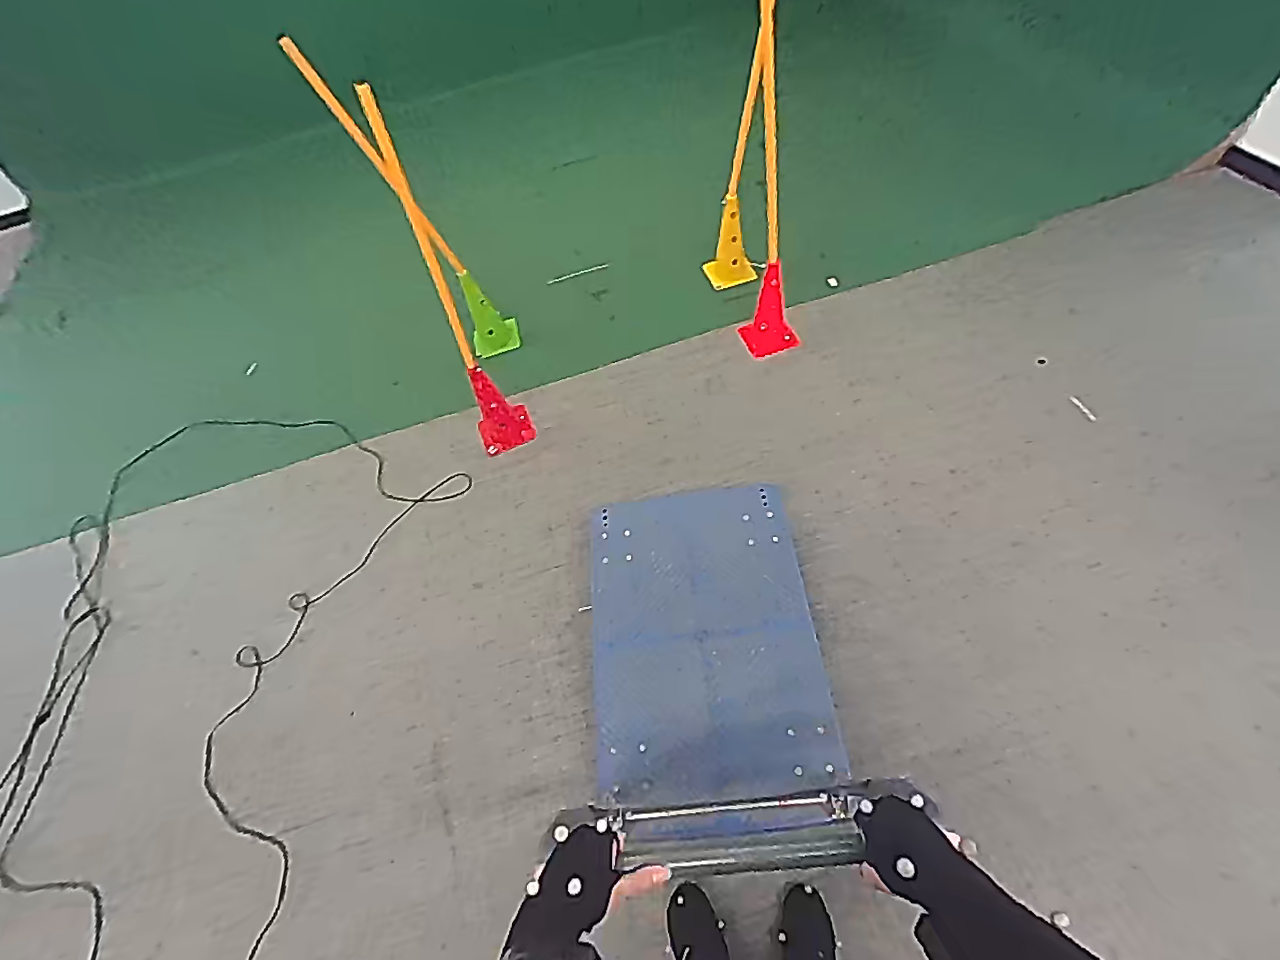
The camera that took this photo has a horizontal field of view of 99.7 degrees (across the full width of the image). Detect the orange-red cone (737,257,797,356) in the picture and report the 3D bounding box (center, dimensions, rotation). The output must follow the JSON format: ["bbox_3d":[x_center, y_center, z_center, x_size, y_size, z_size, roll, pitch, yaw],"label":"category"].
[{"bbox_3d":[0.490,-0.680,2.054,0.198,0.360,0.199,-17,54,-3],"label":"orange-red cone"}]

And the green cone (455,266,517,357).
[{"bbox_3d":[-0.679,-0.731,2.274,0.200,0.368,0.202,-18,55,-2],"label":"green cone"}]
